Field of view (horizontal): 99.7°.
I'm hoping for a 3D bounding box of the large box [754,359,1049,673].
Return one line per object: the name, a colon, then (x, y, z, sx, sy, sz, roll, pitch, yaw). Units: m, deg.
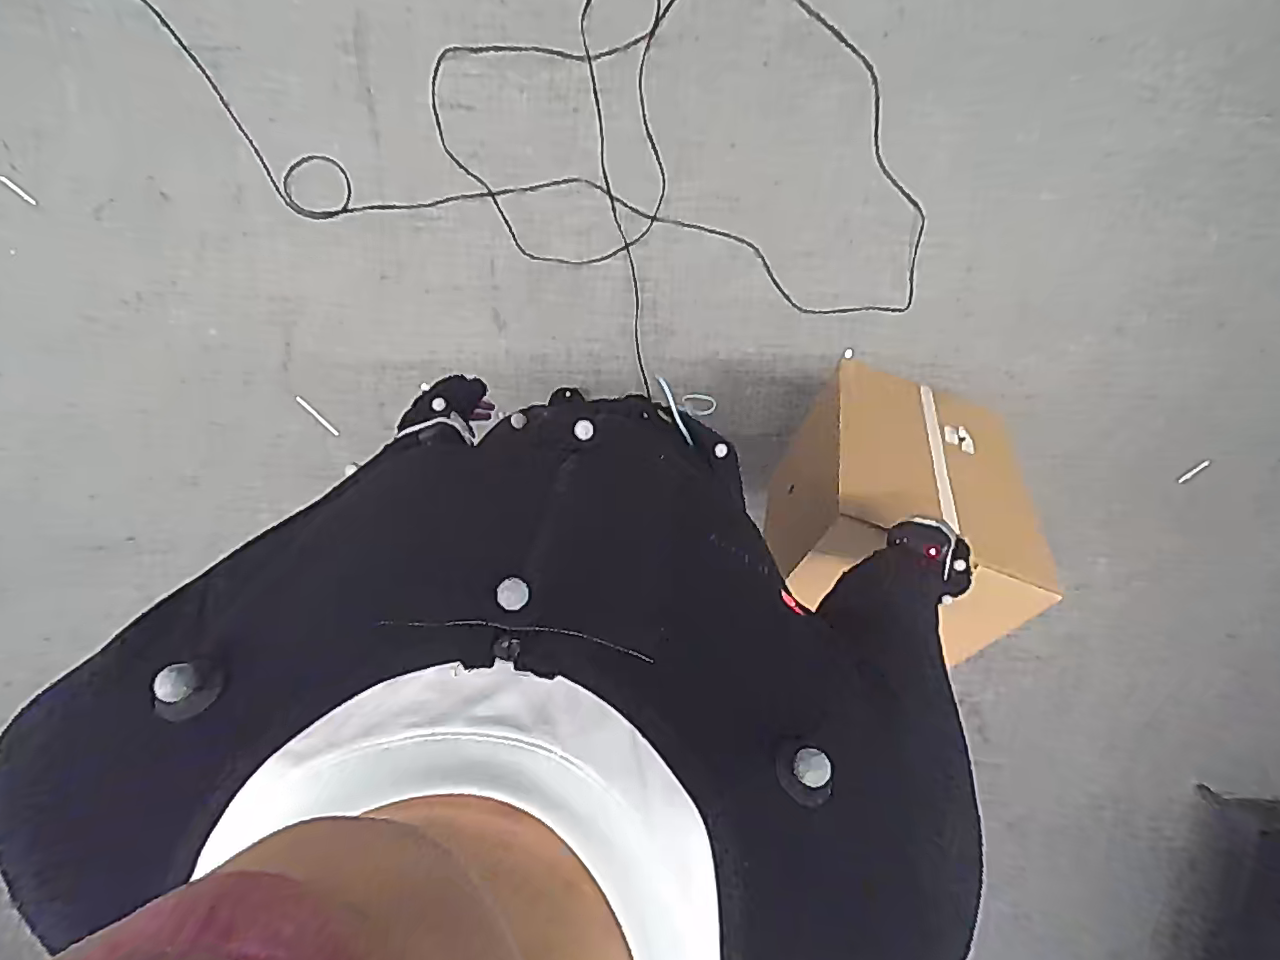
large box: (0.417, 0.059, 0.963, 0.320, 0.408, 0.320, 21, 135, 0)
